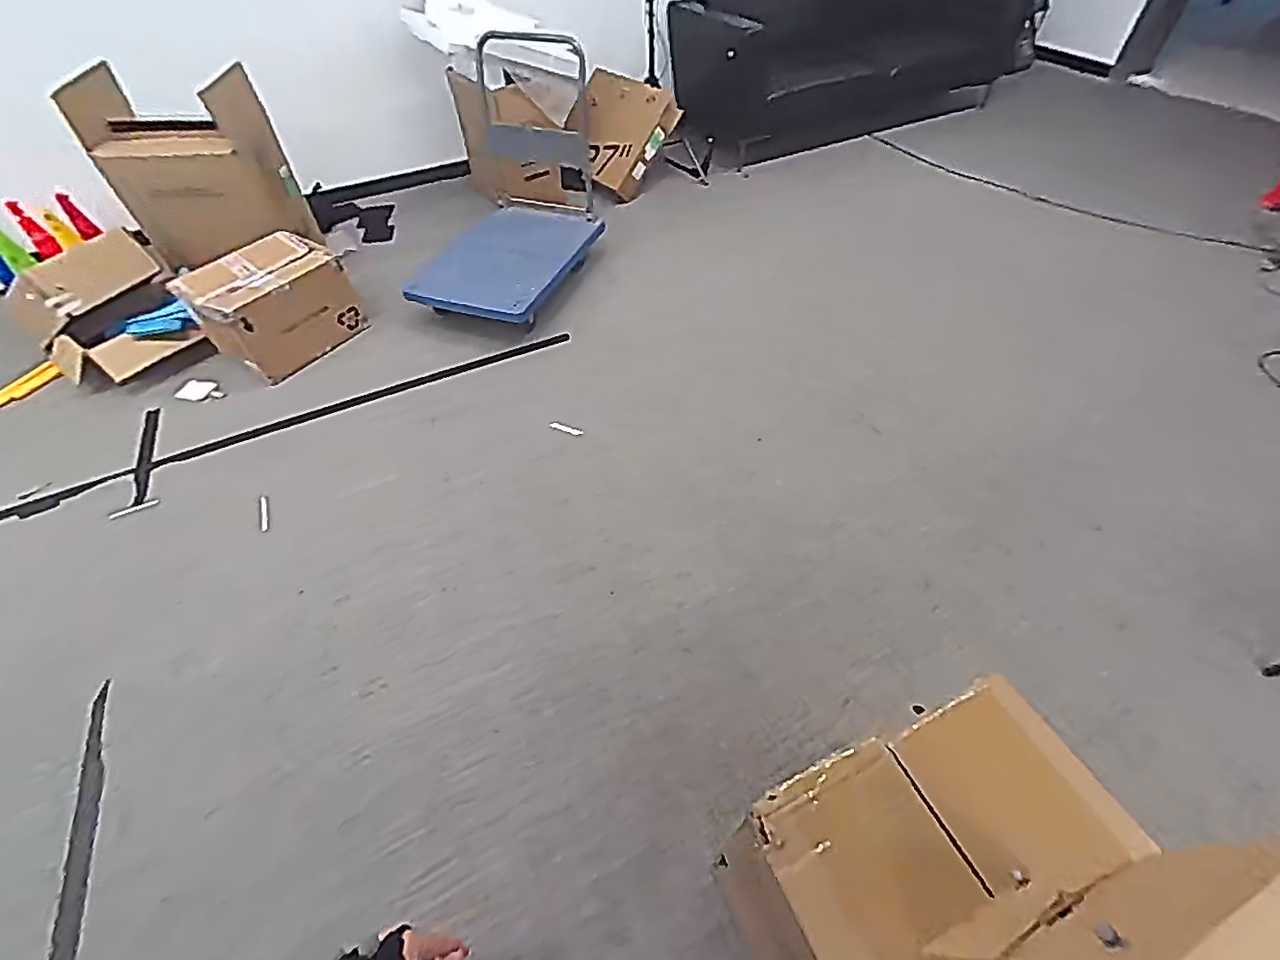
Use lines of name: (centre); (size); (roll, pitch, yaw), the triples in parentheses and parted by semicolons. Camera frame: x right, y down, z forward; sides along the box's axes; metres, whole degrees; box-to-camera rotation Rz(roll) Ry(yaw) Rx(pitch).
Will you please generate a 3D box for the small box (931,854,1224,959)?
small box: (0.397, 0.467, 0.468); (0.168, 0.176, 0.179); (-21, 53, -14)
